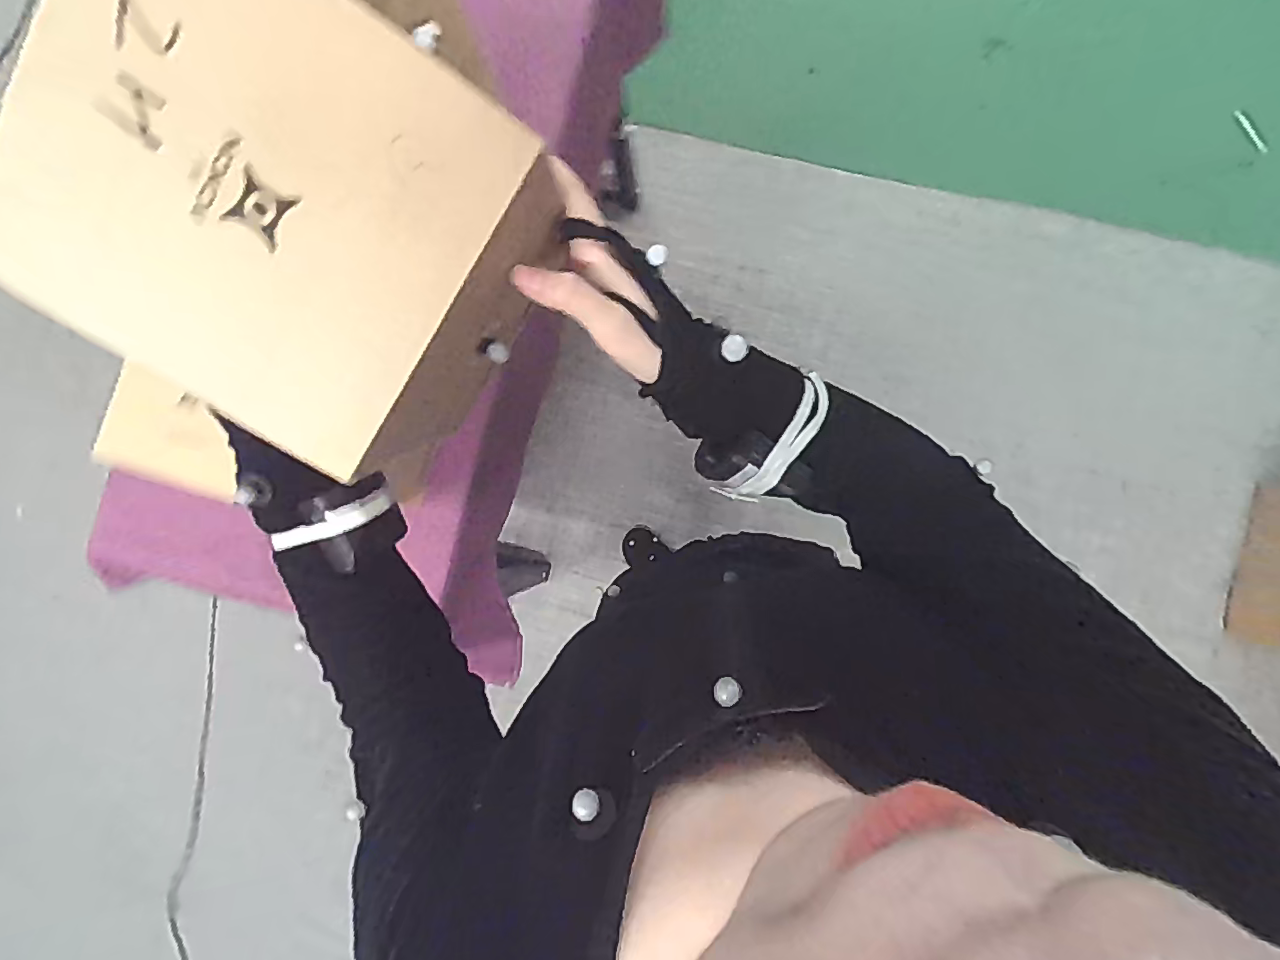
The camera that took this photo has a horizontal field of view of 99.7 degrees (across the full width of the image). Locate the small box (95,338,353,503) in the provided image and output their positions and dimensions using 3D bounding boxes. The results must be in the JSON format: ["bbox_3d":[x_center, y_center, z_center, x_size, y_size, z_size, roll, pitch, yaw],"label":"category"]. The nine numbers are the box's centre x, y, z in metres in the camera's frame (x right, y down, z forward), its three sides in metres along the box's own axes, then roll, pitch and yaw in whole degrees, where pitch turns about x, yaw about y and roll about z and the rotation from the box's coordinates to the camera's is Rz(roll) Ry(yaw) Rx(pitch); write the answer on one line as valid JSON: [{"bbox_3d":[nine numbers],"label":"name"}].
[{"bbox_3d":[-0.429,-0.080,0.607,0.168,0.176,0.179,16,88,7],"label":"small box"}]

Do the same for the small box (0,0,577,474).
[{"bbox_3d":[-0.150,-0.132,0.293,0.179,0.176,0.168,34,100,-9],"label":"small box"}]

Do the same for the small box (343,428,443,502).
[{"bbox_3d":[-0.412,-0.067,0.770,0.179,0.176,0.168,15,88,8],"label":"small box"}]
